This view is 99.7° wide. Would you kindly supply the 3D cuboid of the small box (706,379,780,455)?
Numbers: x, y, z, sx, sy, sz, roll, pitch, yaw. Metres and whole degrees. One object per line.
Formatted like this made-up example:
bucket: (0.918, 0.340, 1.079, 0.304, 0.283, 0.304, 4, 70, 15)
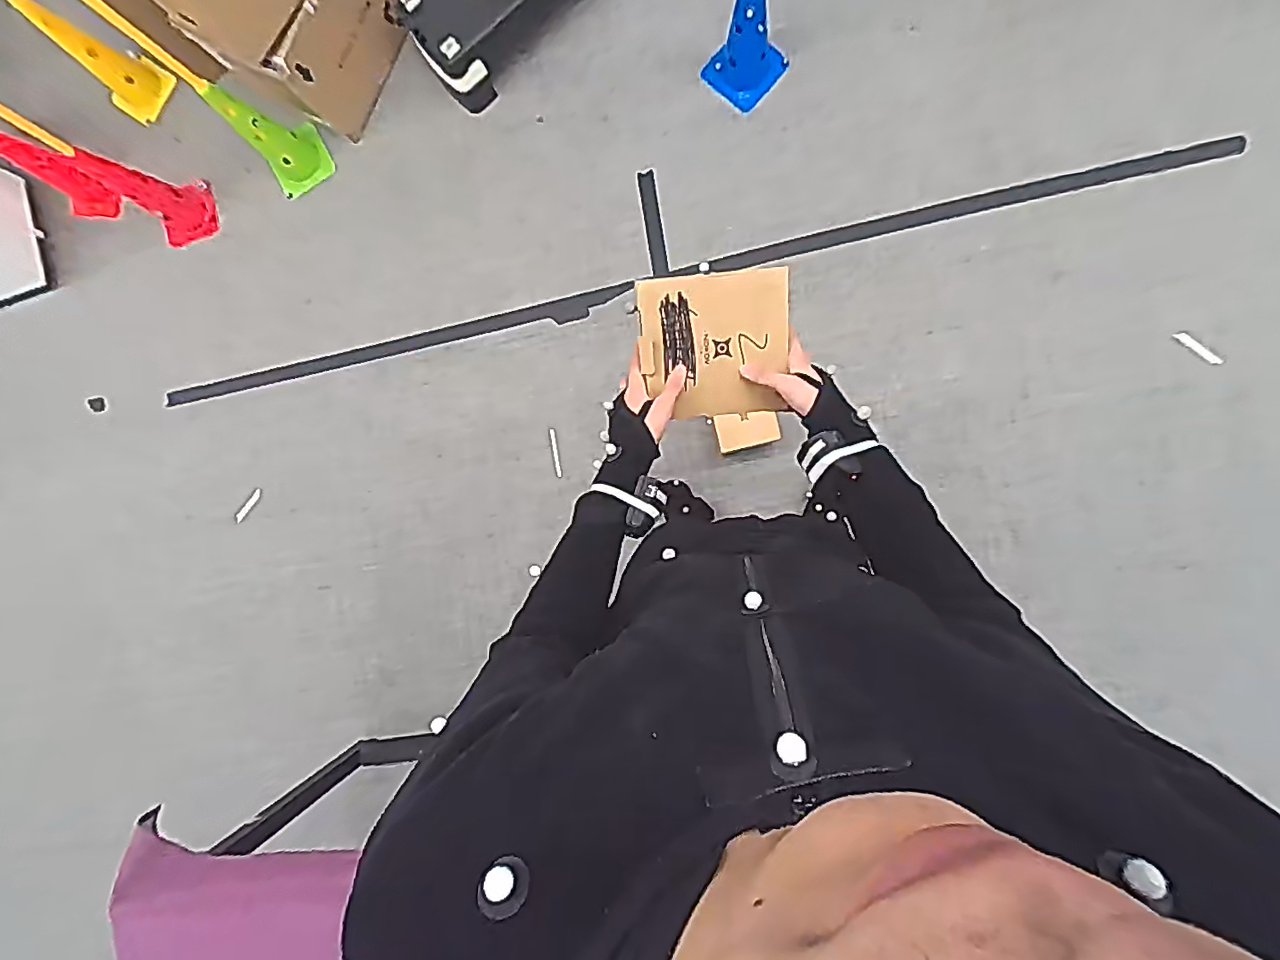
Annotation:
small box: (0.289, -0.171, 1.536, 0.168, 0.176, 0.179, -14, 88, 7)
